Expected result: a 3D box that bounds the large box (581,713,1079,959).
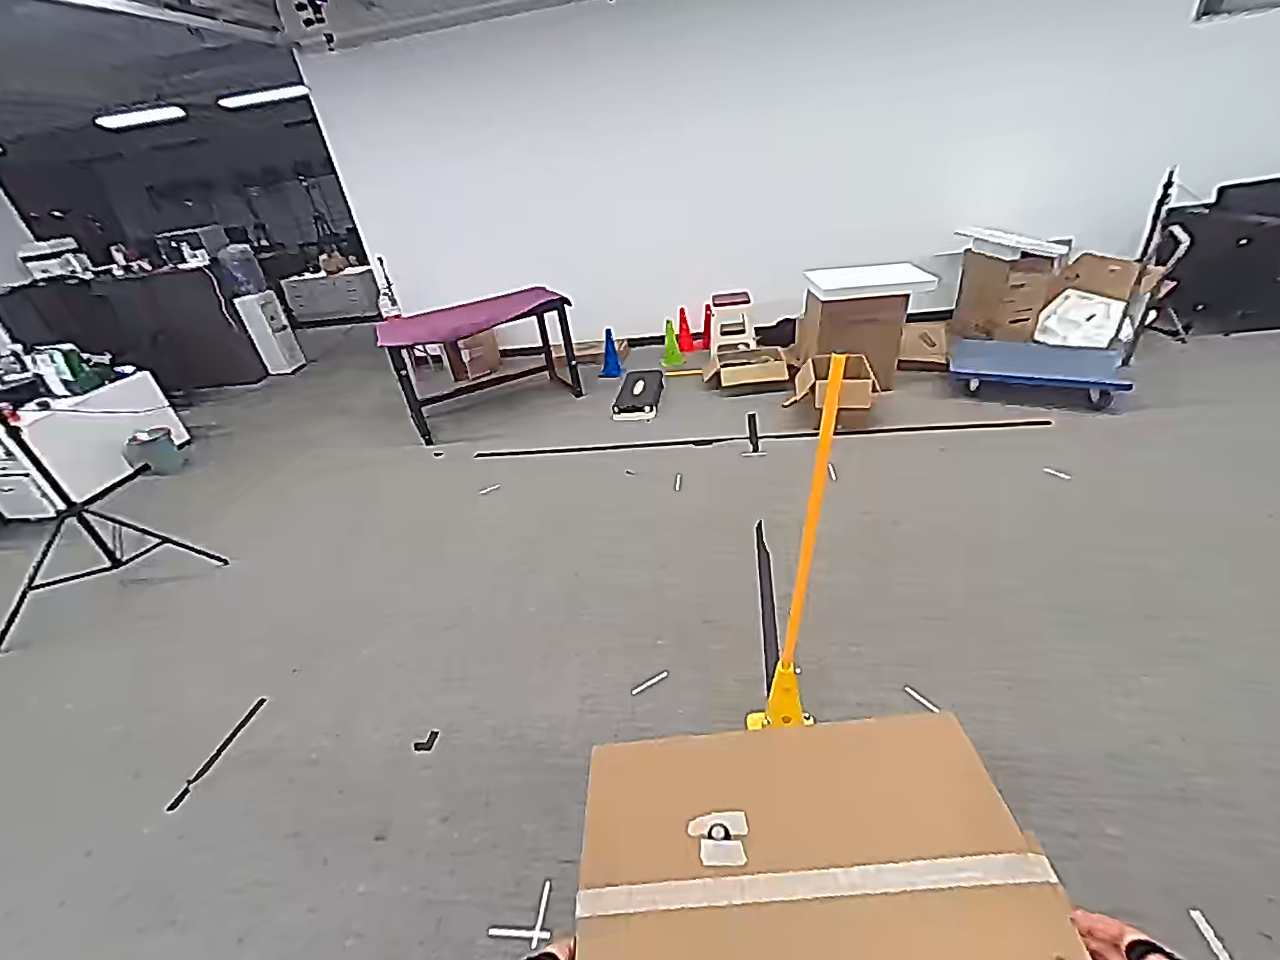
[{"bbox_3d":[0.172,0.493,0.560,0.408,0.320,0.320,-9,29,6],"label":"large box"}]
